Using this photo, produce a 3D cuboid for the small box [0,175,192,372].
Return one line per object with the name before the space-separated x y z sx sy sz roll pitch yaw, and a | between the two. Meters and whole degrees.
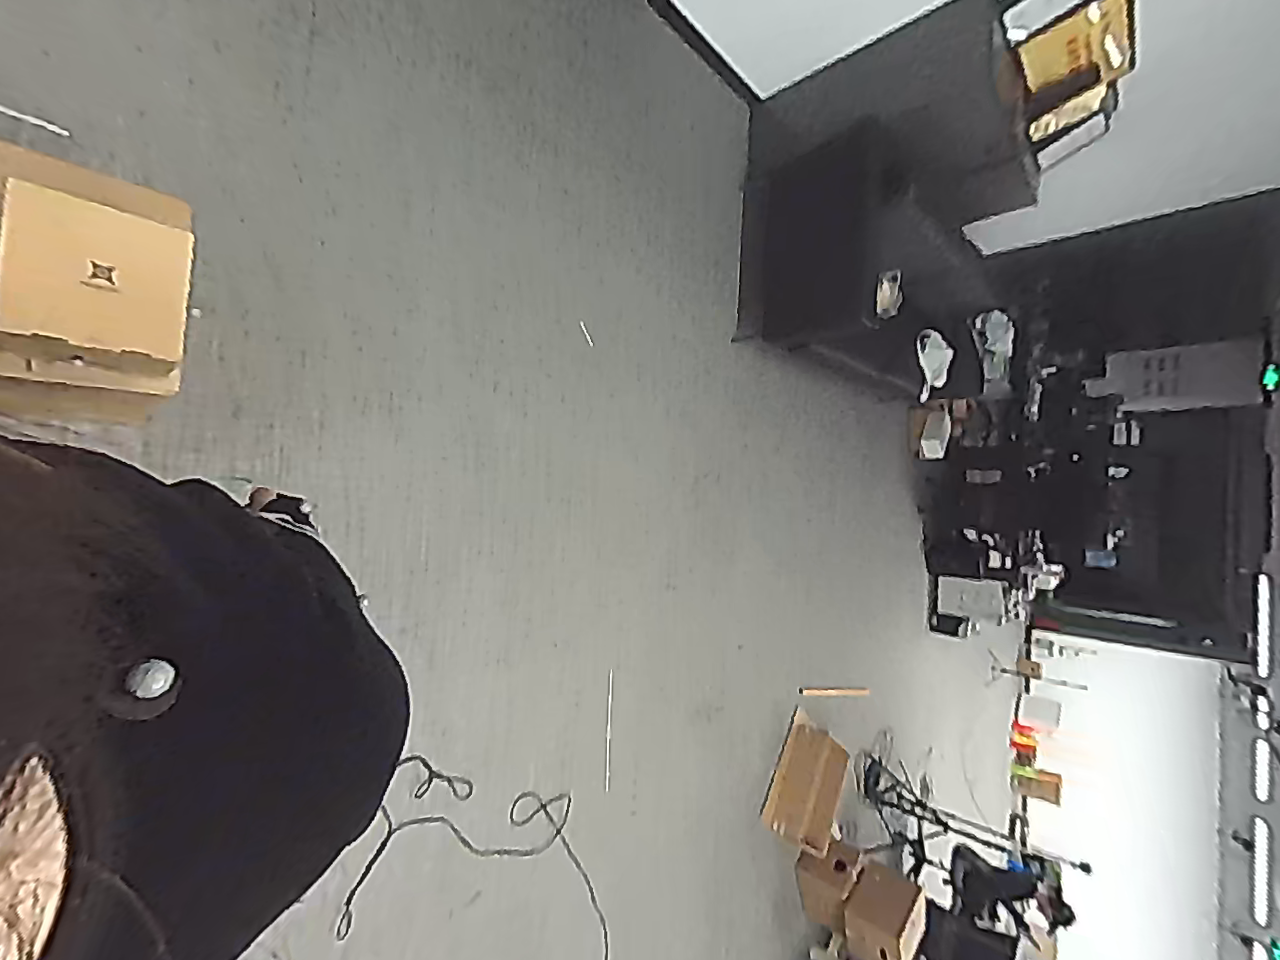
small box | -0.719 -0.252 0.713 0.168 0.176 0.179 7 87 -47
